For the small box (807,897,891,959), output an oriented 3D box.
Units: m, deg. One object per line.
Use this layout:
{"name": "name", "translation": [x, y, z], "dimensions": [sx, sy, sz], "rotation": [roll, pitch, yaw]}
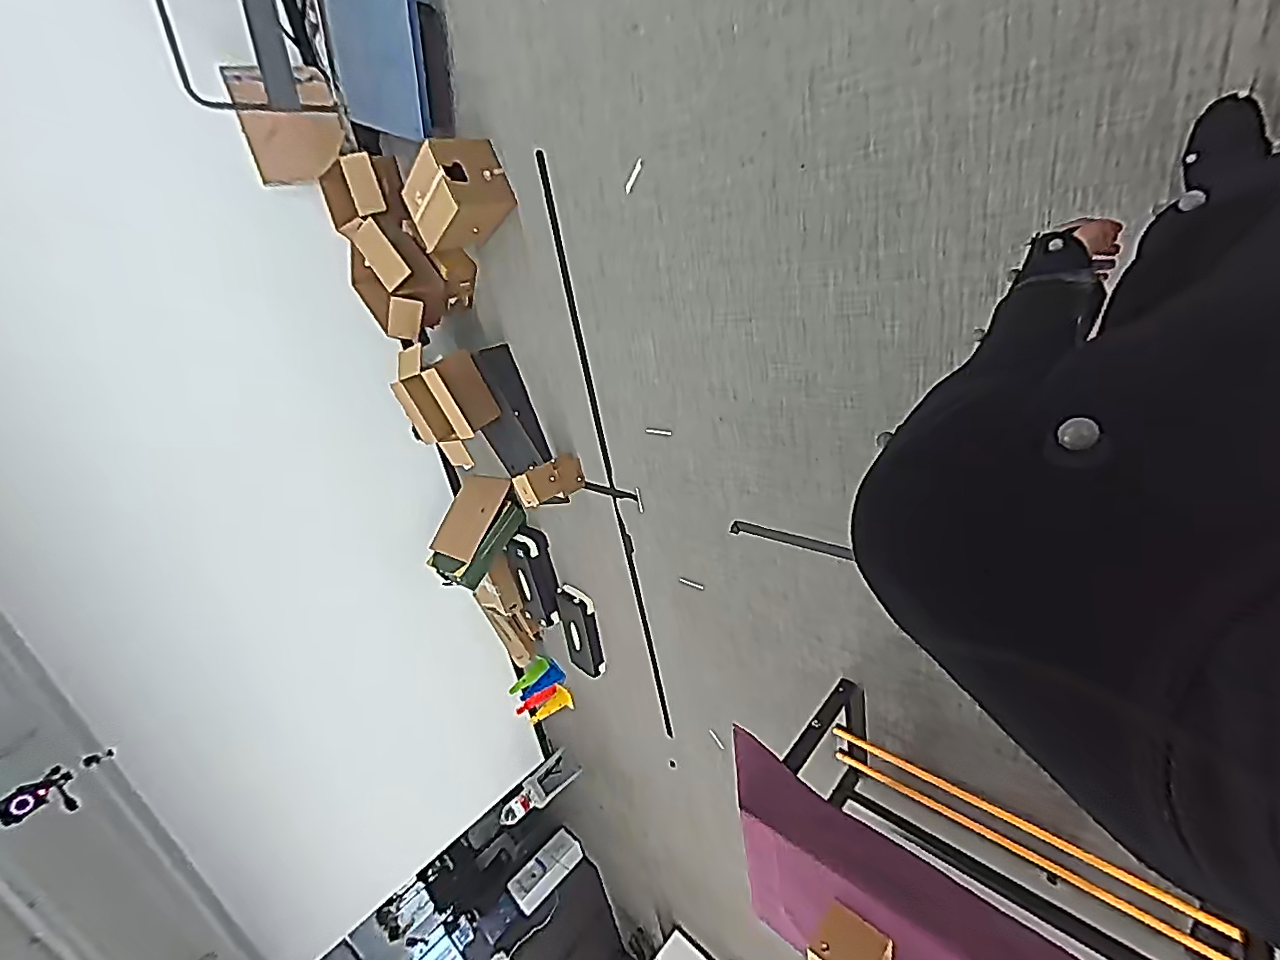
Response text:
{"name": "small box", "translation": [0.602, 1.357, 1.545], "dimensions": [0.179, 0.176, 0.168], "rotation": [14, 124, 44]}
